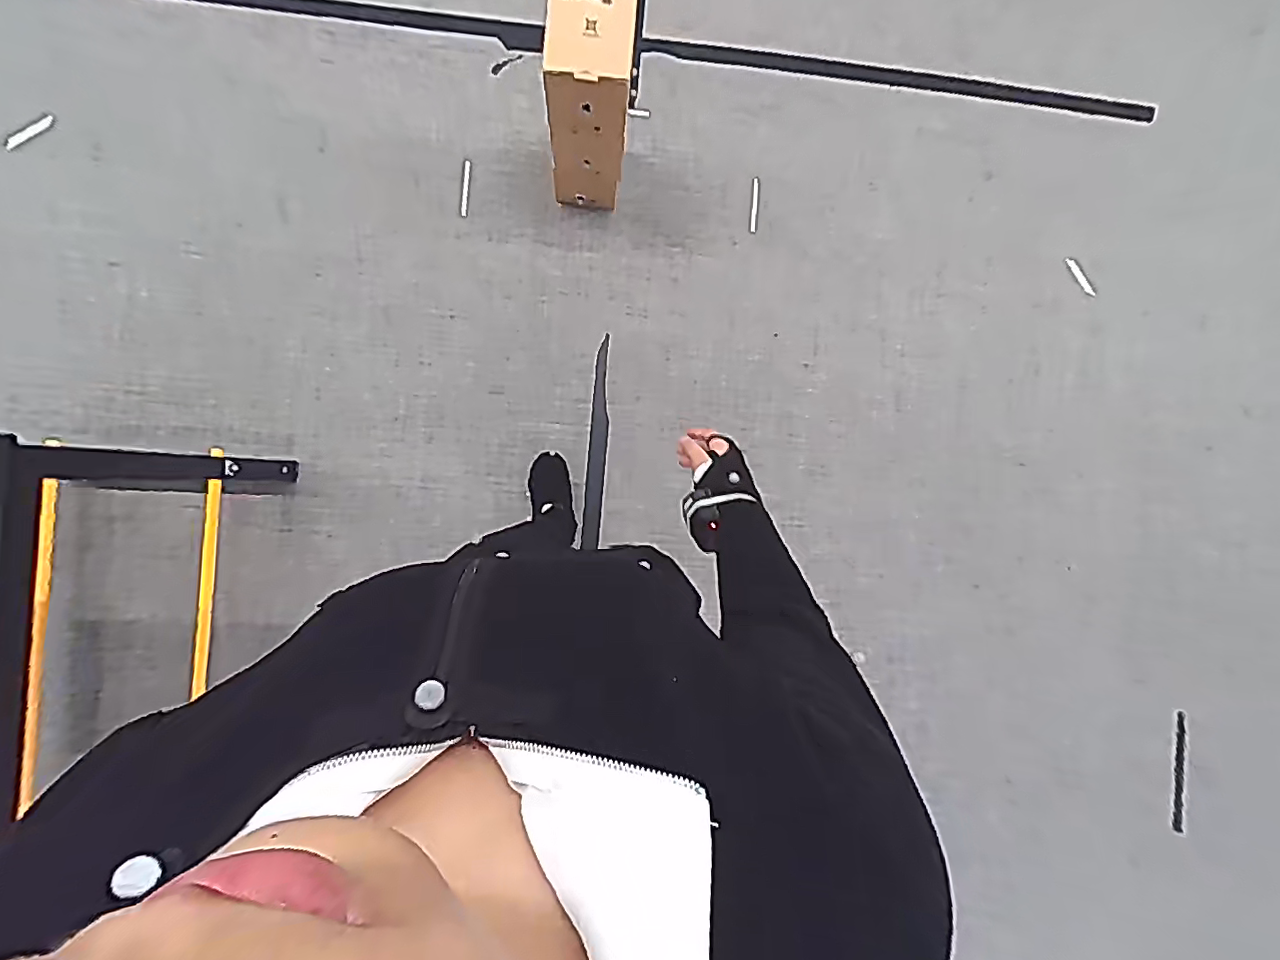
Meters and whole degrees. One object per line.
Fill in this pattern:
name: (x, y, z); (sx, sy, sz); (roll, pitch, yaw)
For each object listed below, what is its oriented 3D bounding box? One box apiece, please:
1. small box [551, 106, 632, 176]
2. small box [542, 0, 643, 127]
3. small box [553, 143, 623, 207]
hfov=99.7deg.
small box: (-0.099, -0.799, 1.169); (0.168, 0.176, 0.179); (4, 89, -4)
small box: (-0.085, -0.798, 1.005); (0.168, 0.176, 0.179); (5, 90, -5)
small box: (-0.122, -0.807, 1.332); (0.168, 0.176, 0.179); (4, 91, -5)
